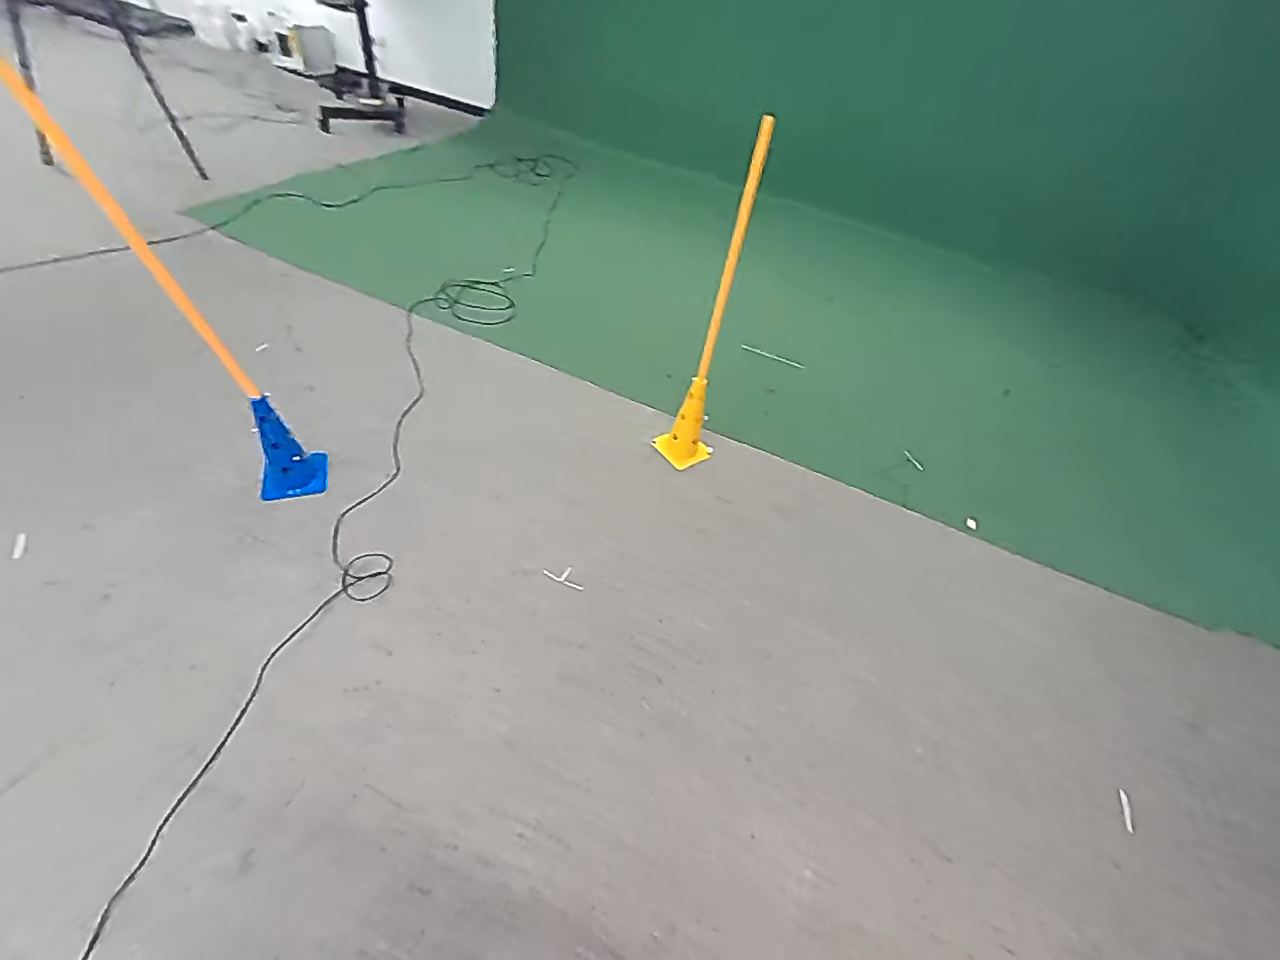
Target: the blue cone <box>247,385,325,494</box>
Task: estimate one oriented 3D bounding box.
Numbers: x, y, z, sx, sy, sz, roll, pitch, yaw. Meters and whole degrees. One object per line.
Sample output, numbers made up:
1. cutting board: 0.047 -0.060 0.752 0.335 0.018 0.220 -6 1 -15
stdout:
1. blue cone: -1.172 -0.141 1.743 0.193 0.380 0.192 -11 51 -19
